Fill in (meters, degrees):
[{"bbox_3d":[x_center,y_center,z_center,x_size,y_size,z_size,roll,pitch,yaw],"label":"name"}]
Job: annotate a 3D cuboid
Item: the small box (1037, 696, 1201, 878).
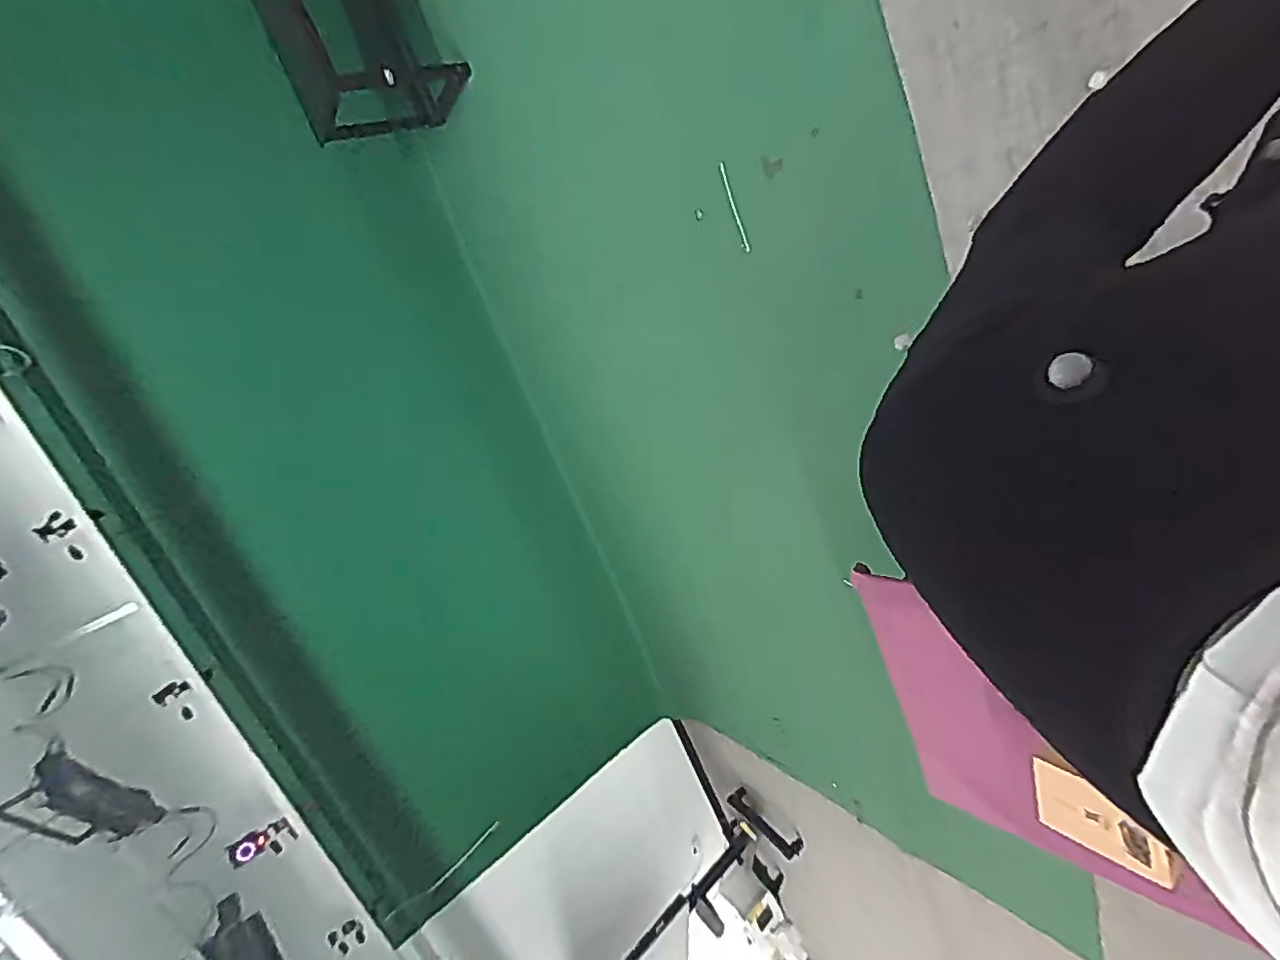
[{"bbox_3d":[0.816,0.506,0.921,0.179,0.176,0.168,11,126,55],"label":"small box"}]
